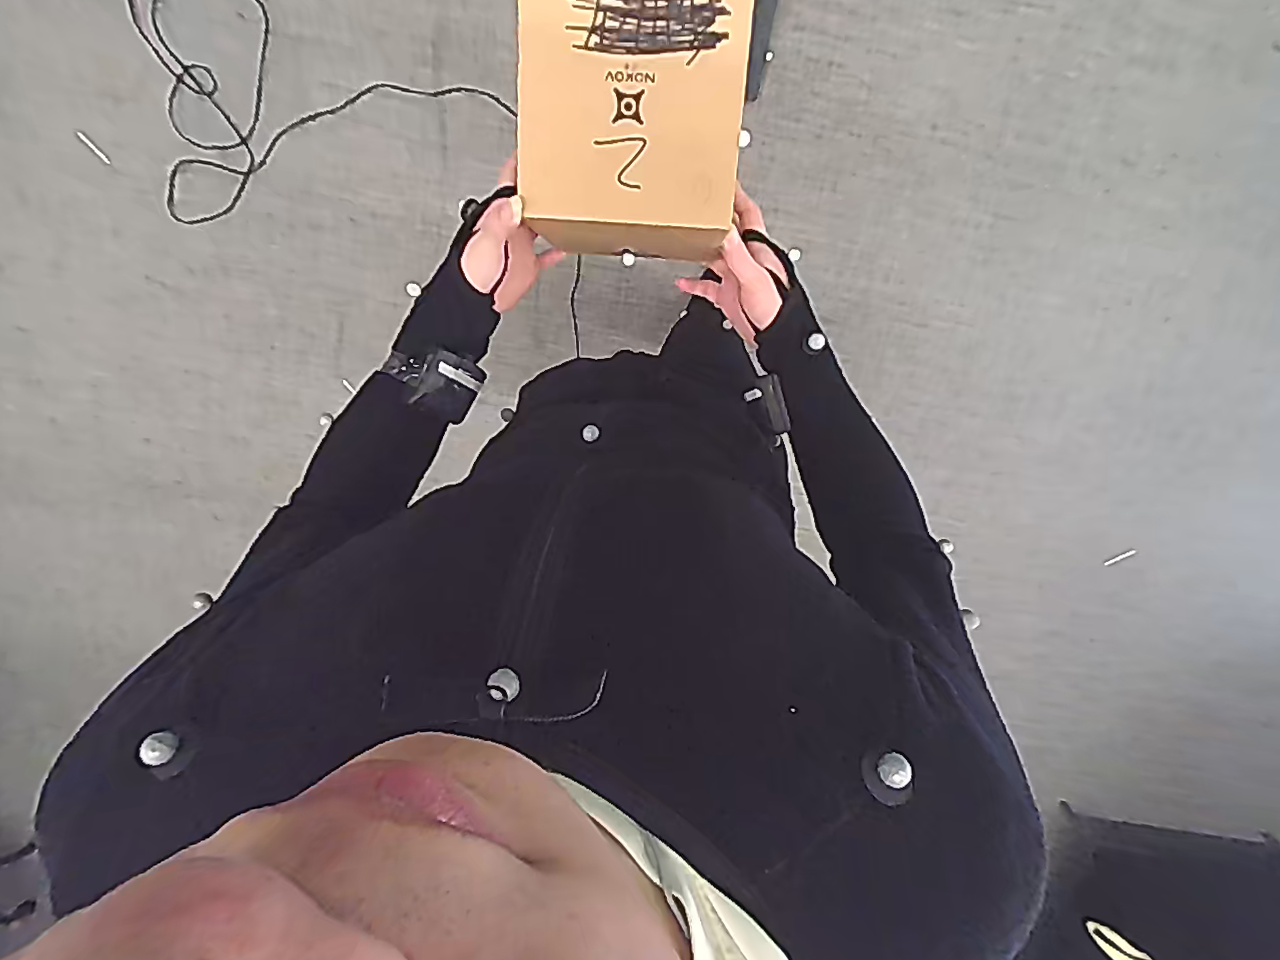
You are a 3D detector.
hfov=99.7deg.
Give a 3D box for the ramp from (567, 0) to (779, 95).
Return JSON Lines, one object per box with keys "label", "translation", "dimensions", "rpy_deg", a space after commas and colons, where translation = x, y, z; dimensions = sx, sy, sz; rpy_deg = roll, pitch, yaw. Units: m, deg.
{"label": "ramp", "translation": [0.134, -1.431, 1.116], "dimensions": [0.509, 0.206, 0.991], "rpy_deg": [7, 107, -3]}
